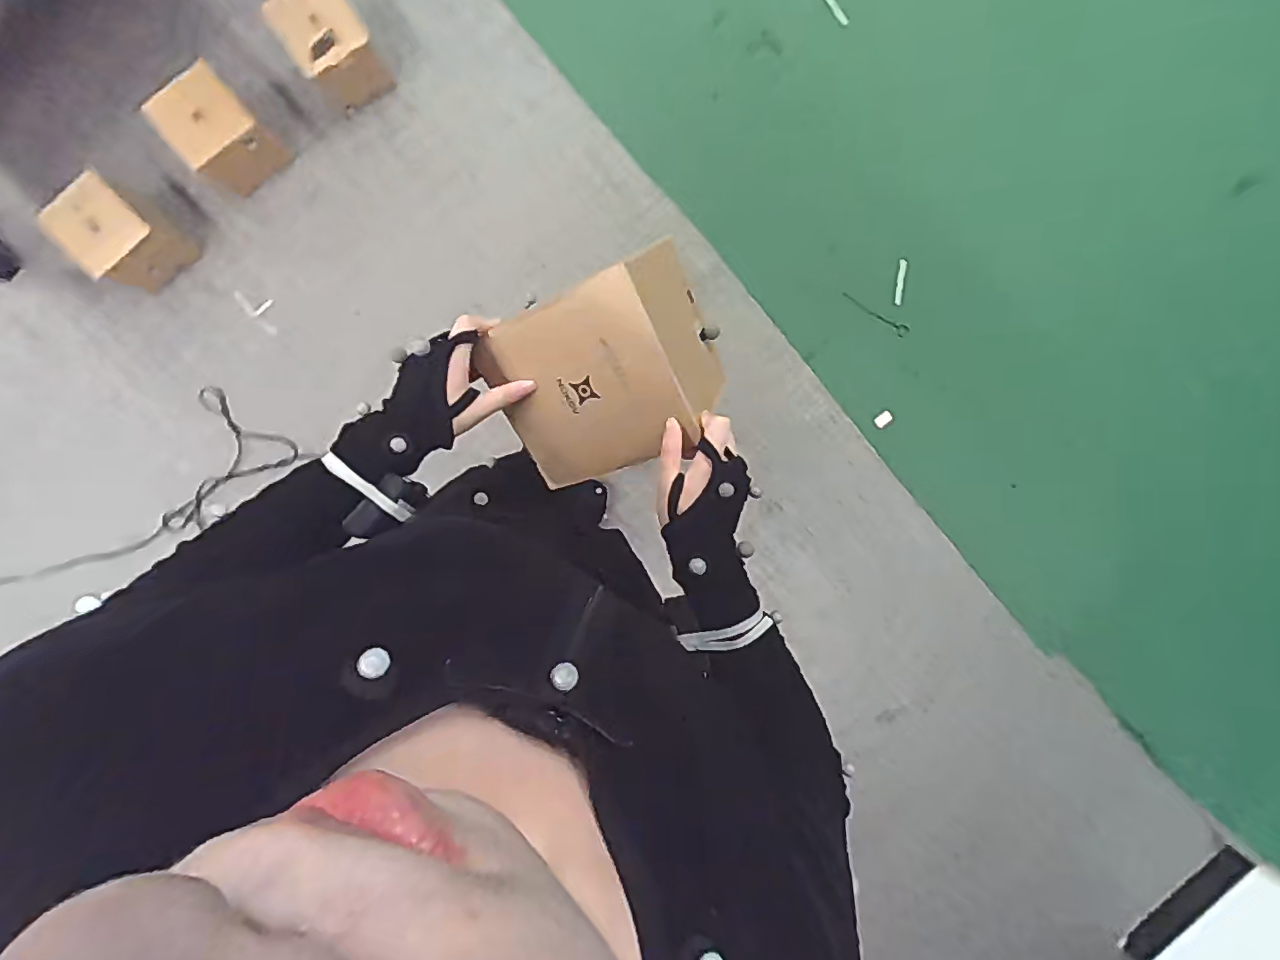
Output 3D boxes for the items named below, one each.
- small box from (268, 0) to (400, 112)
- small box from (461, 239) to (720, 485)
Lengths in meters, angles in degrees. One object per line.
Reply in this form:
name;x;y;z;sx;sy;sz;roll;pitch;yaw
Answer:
small box;-0.705;-1.013;1.269;0.168;0.176;0.179;-34;92;1
small box;-0.036;-0.121;0.551;0.179;0.176;0.168;-17;114;27
